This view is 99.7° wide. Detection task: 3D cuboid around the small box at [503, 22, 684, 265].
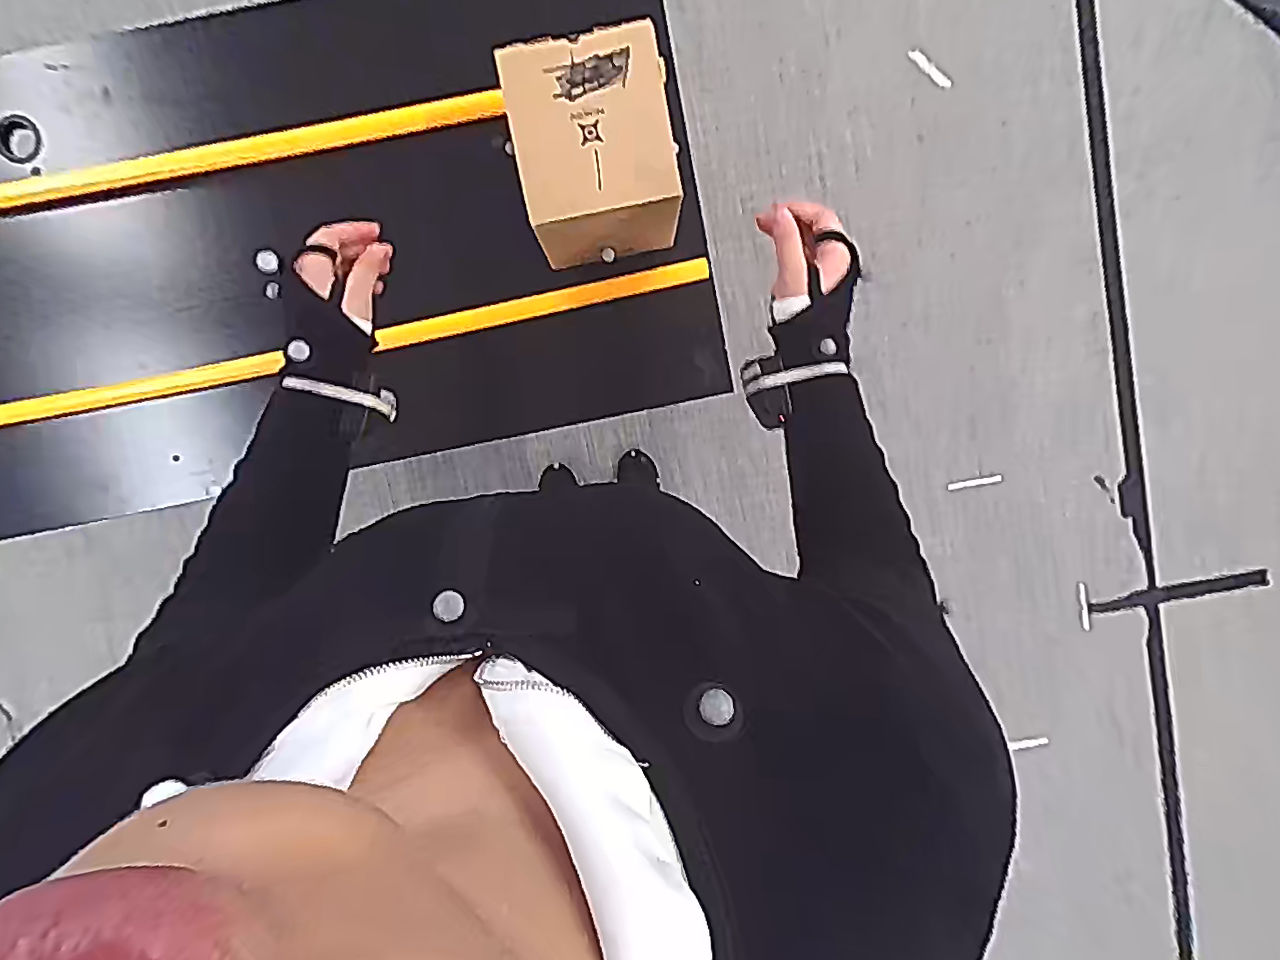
[{"bbox_3d":[-0.049,-0.378,0.639,0.168,0.176,0.179,-10,96,1],"label":"small box"}]
